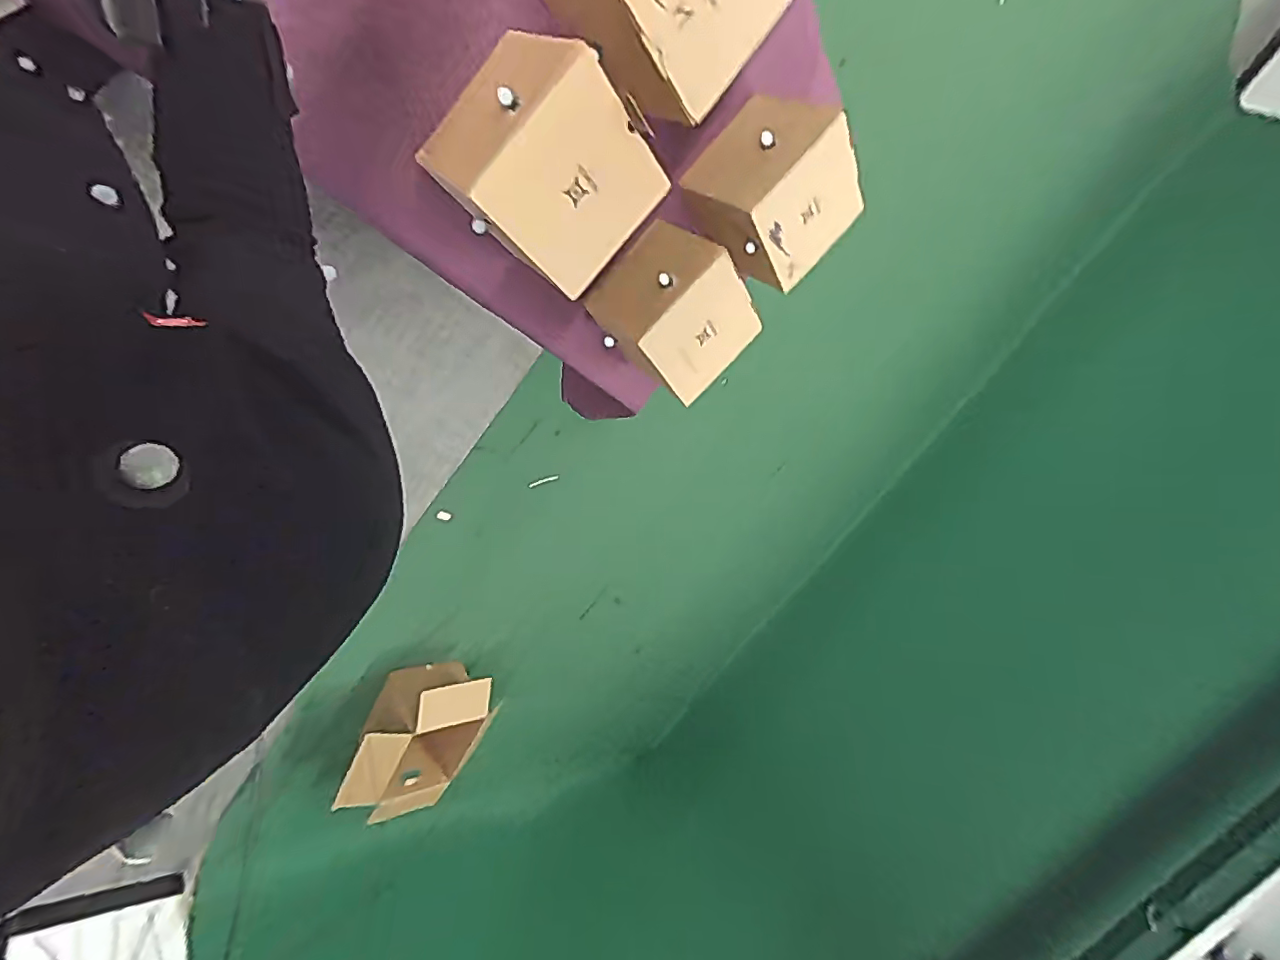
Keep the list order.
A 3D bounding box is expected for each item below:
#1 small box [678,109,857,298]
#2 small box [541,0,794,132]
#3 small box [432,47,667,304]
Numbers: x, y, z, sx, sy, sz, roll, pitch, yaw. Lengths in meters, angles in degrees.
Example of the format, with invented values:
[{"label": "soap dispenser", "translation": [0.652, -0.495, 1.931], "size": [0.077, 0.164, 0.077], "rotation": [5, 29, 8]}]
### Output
[{"label": "small box", "translation": [0.191, -0.419, 0.815], "size": [0.179, 0.176, 0.168], "rotation": [-47, 142, 3]}, {"label": "small box", "translation": [0.024, -0.517, 0.569], "size": [0.179, 0.176, 0.168], "rotation": [-50, 142, 7]}, {"label": "small box", "translation": [-0.109, -0.342, 0.613], "size": [0.179, 0.176, 0.168], "rotation": [-48, 142, 5]}]
